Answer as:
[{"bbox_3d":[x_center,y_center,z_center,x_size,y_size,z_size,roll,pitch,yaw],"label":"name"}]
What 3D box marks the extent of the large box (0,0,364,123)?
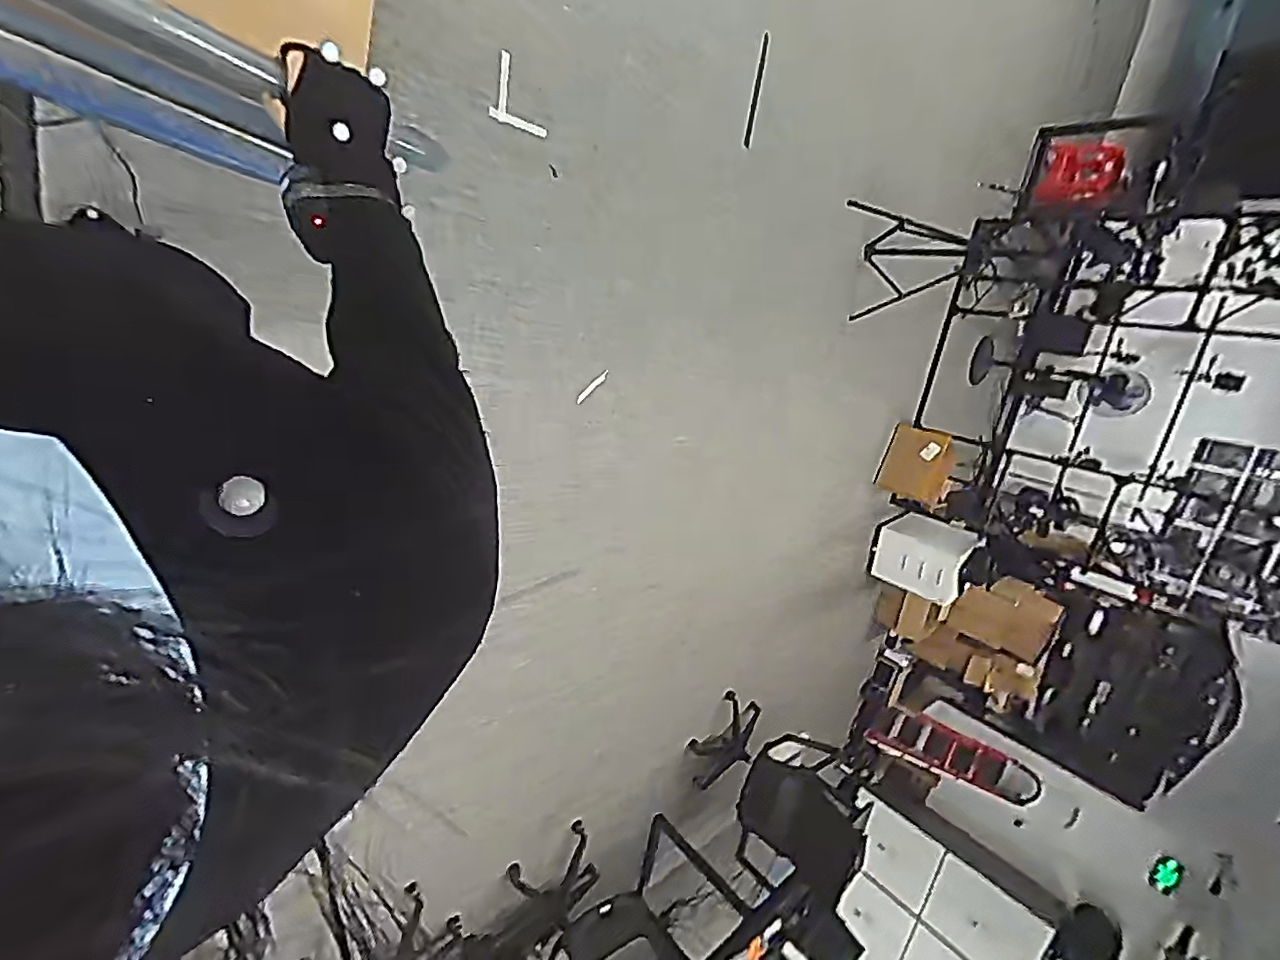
[{"bbox_3d":[-0.654,-0.781,0.767,0.408,0.320,0.320,0,108,-46],"label":"large box"}]
